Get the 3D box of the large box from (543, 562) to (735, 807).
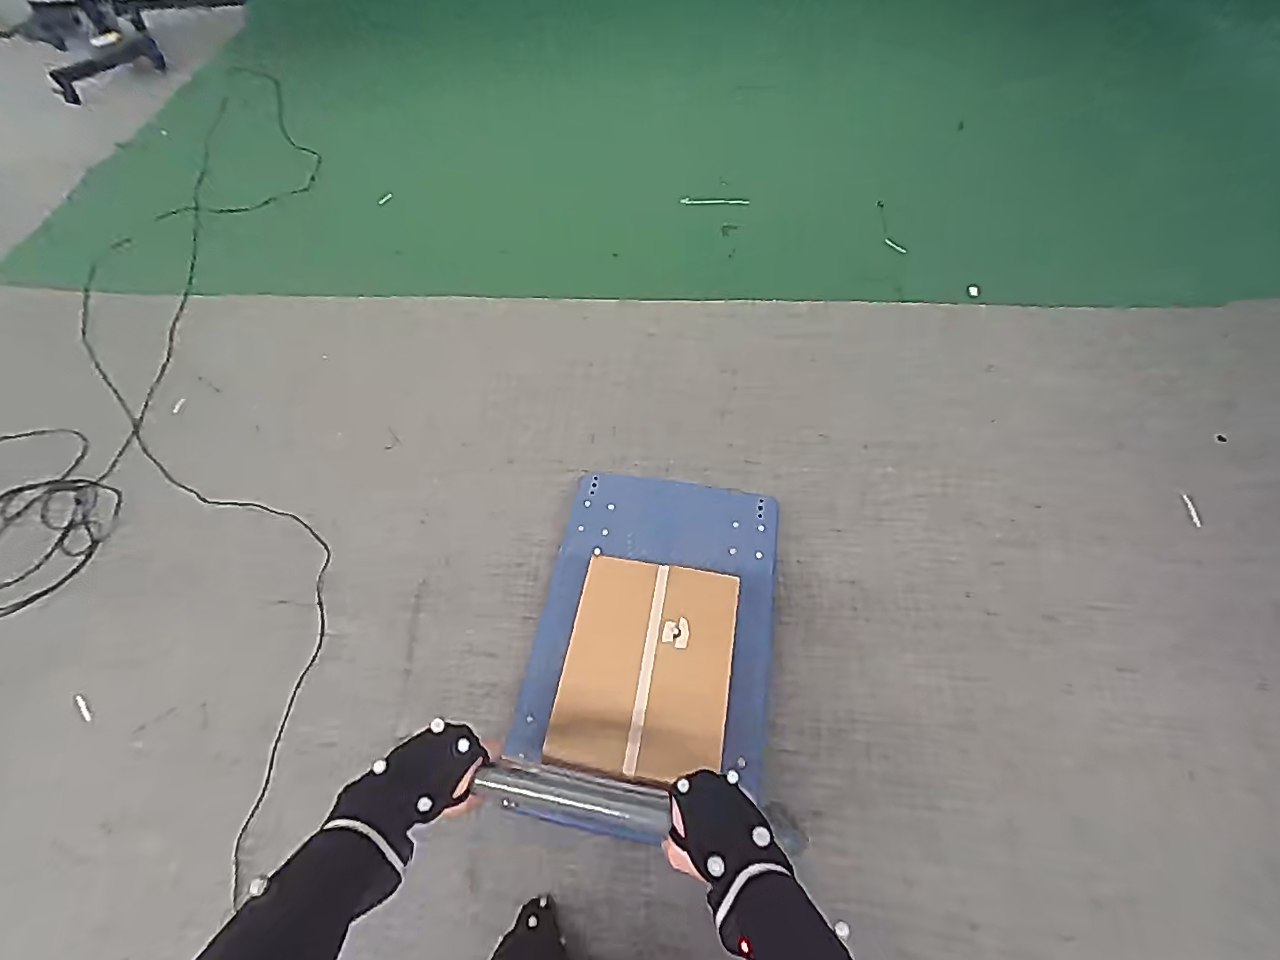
[{"bbox_3d":[0.018,0.438,1.151,0.320,0.320,0.408,8,59,7],"label":"large box"}]
